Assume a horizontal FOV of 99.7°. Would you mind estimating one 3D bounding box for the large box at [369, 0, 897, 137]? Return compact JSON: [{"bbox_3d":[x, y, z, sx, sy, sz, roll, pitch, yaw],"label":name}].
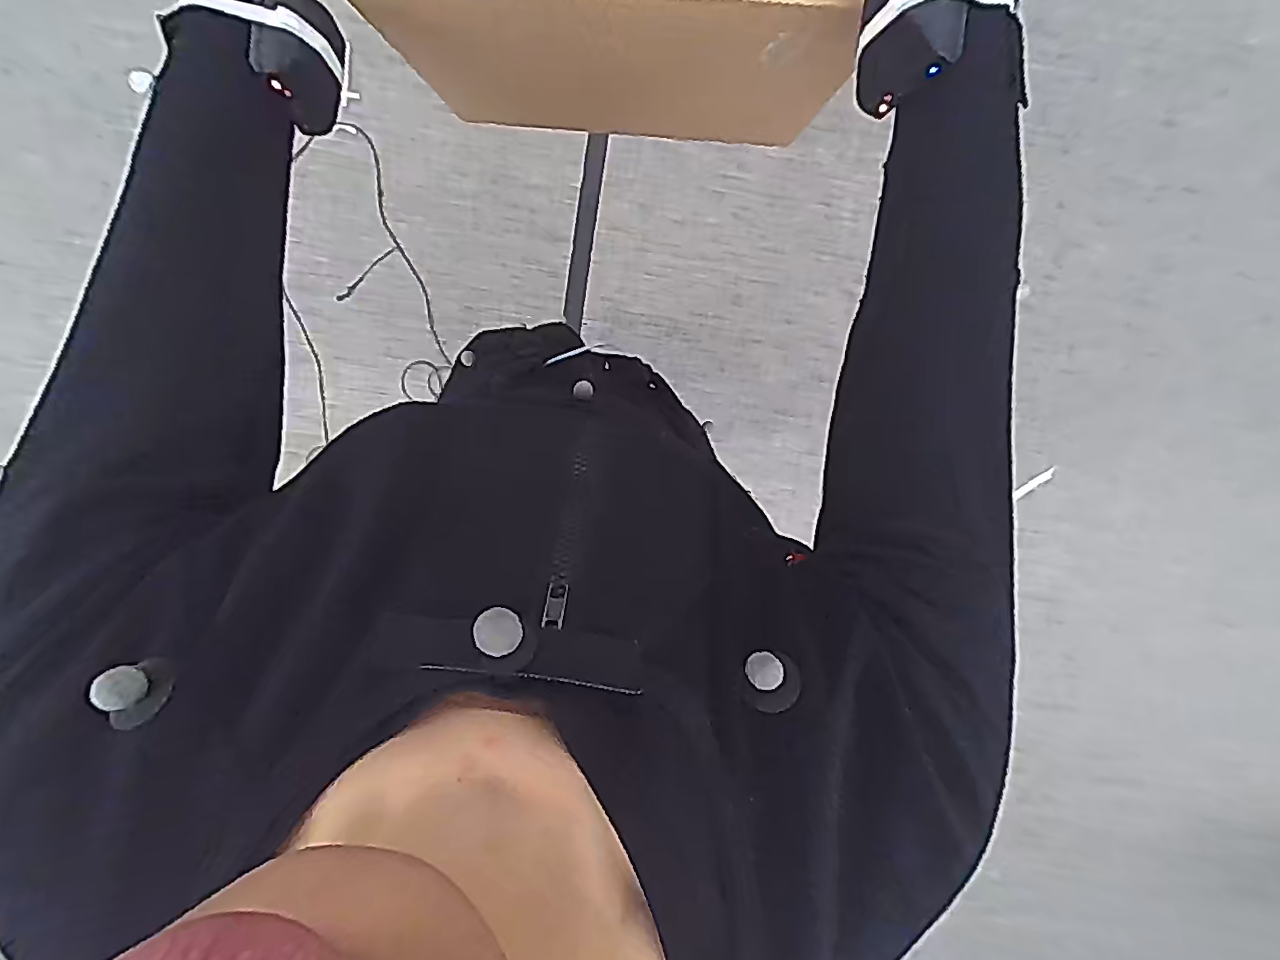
[{"bbox_3d":[-0.007,-0.529,0.473,0.408,0.320,0.320,4,107,-1],"label":"large box"}]
